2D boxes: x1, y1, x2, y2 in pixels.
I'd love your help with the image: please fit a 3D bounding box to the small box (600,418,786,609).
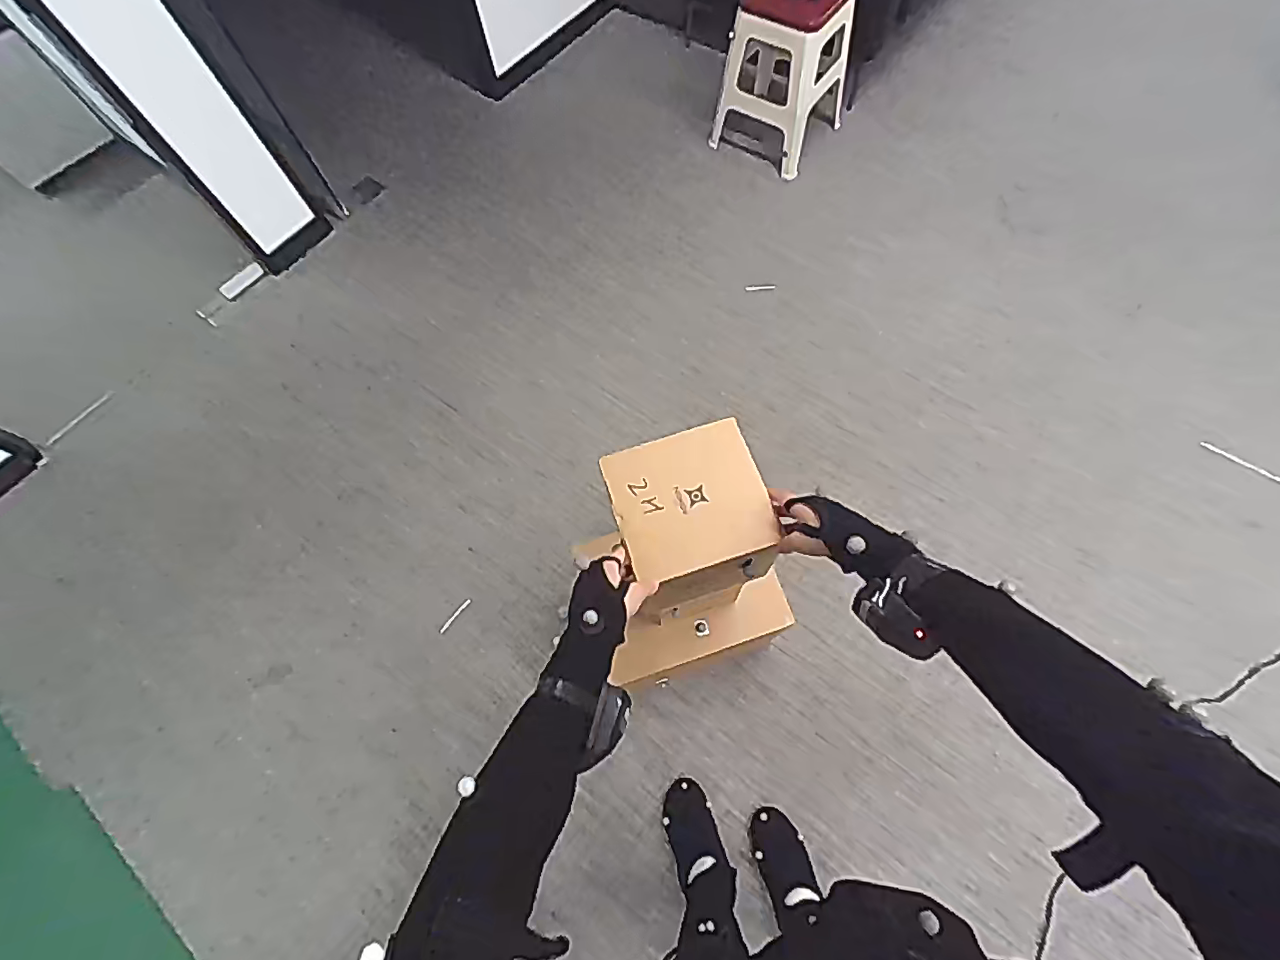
[{"bbox_3d":[0.060,0.050,0.689,0.179,0.176,0.168,-17,65,-4],"label":"small box"}]
